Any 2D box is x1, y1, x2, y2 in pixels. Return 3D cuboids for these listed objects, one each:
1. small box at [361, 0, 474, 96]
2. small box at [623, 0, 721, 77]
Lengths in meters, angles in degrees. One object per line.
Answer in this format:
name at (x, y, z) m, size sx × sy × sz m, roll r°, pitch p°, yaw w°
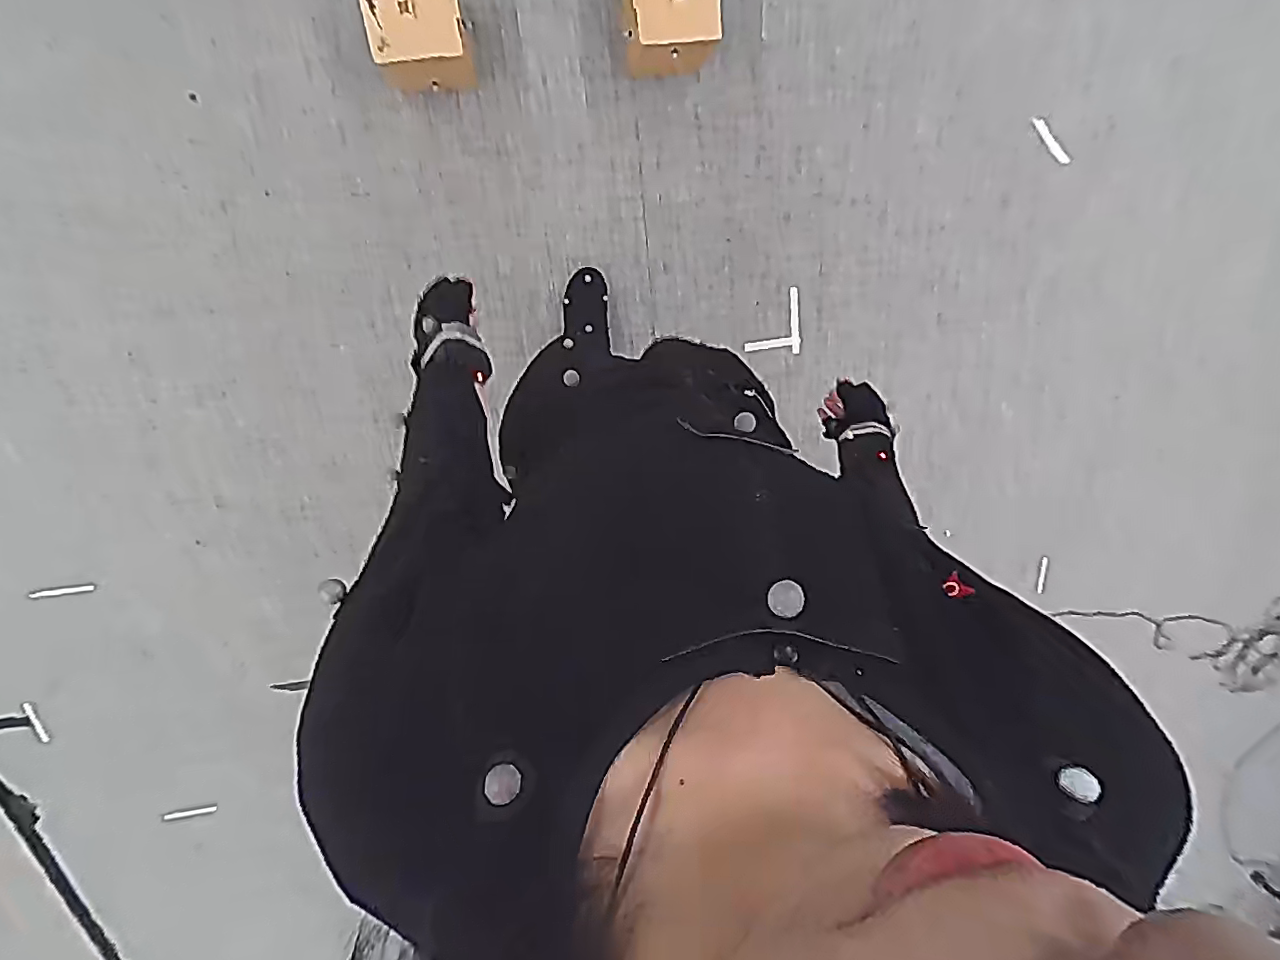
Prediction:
small box at (-0.443, -0.907, 1.098) m, size 0.179 × 0.176 × 0.168 m, roll -9°, pitch 110°, yaw -5°
small box at (0.061, -0.981, 1.145) m, size 0.179 × 0.176 × 0.168 m, roll -9°, pitch 111°, yaw -6°
